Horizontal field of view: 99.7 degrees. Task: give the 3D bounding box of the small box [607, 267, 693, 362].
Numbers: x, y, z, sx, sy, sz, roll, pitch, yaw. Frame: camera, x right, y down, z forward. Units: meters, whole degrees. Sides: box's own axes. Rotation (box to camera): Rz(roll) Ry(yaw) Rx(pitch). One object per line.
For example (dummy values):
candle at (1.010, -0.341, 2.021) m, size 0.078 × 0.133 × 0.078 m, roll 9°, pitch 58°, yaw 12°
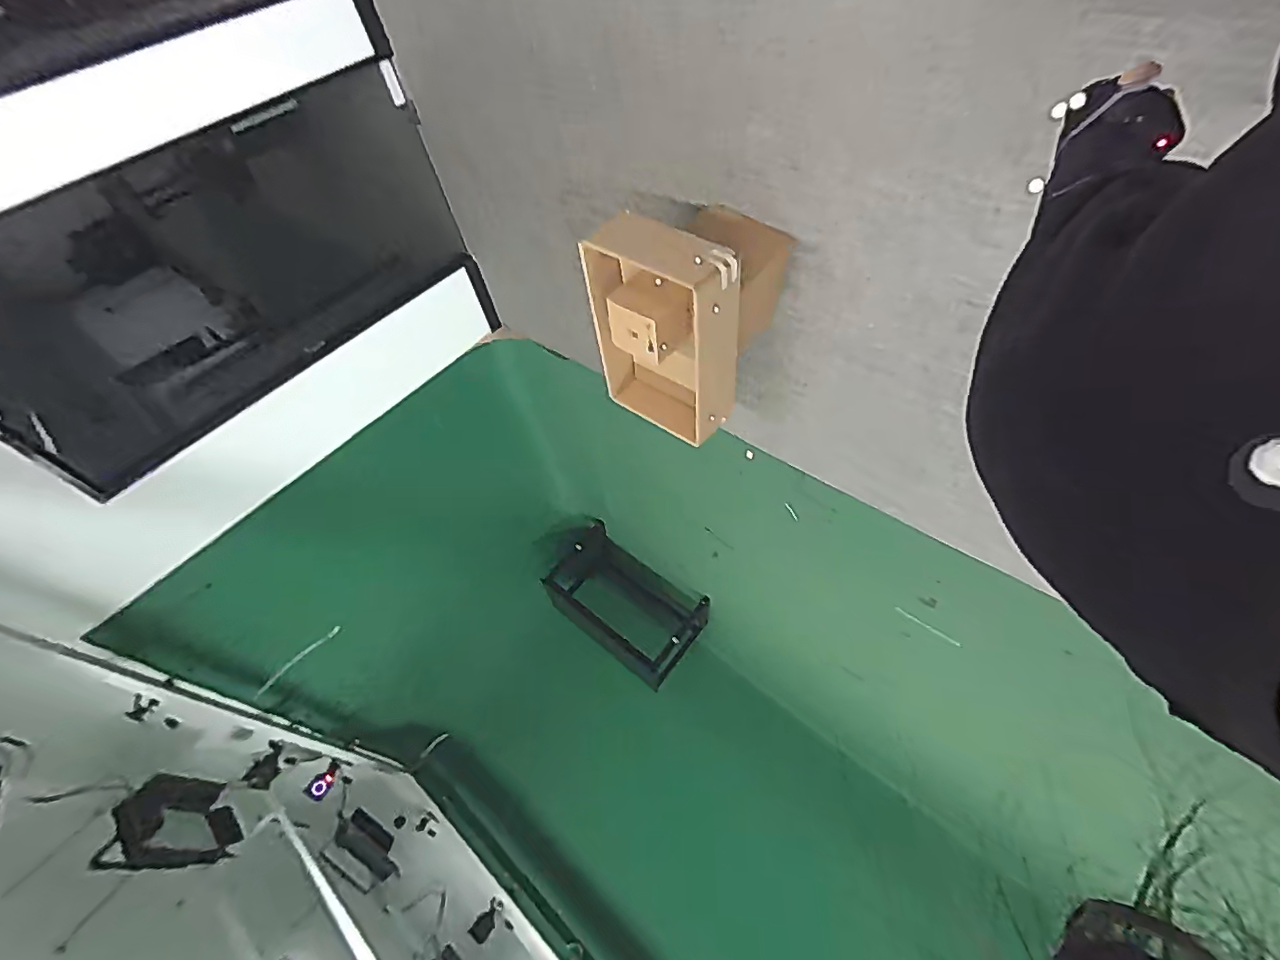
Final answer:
small box at (0.032, -0.474, 1.533) m, size 0.179 × 0.176 × 0.168 m, roll 33°, pitch 156°, yaw 24°
